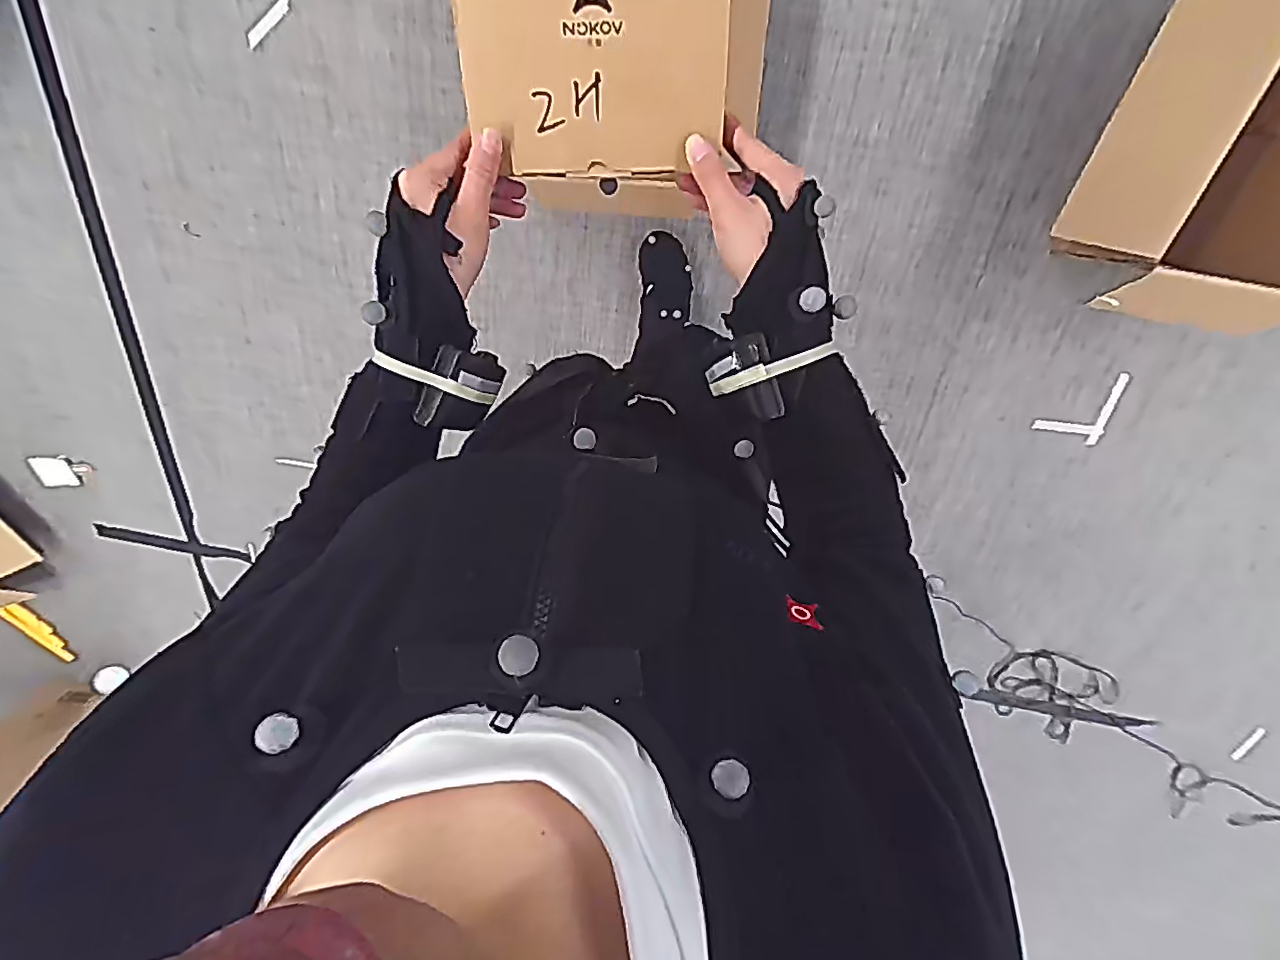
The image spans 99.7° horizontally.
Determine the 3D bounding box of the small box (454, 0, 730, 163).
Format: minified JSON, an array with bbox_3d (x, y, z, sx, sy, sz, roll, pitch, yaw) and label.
[{"bbox_3d":[-0.028,-0.328,0.383,0.168,0.176,0.179,0,121,1],"label":"small box"}]
